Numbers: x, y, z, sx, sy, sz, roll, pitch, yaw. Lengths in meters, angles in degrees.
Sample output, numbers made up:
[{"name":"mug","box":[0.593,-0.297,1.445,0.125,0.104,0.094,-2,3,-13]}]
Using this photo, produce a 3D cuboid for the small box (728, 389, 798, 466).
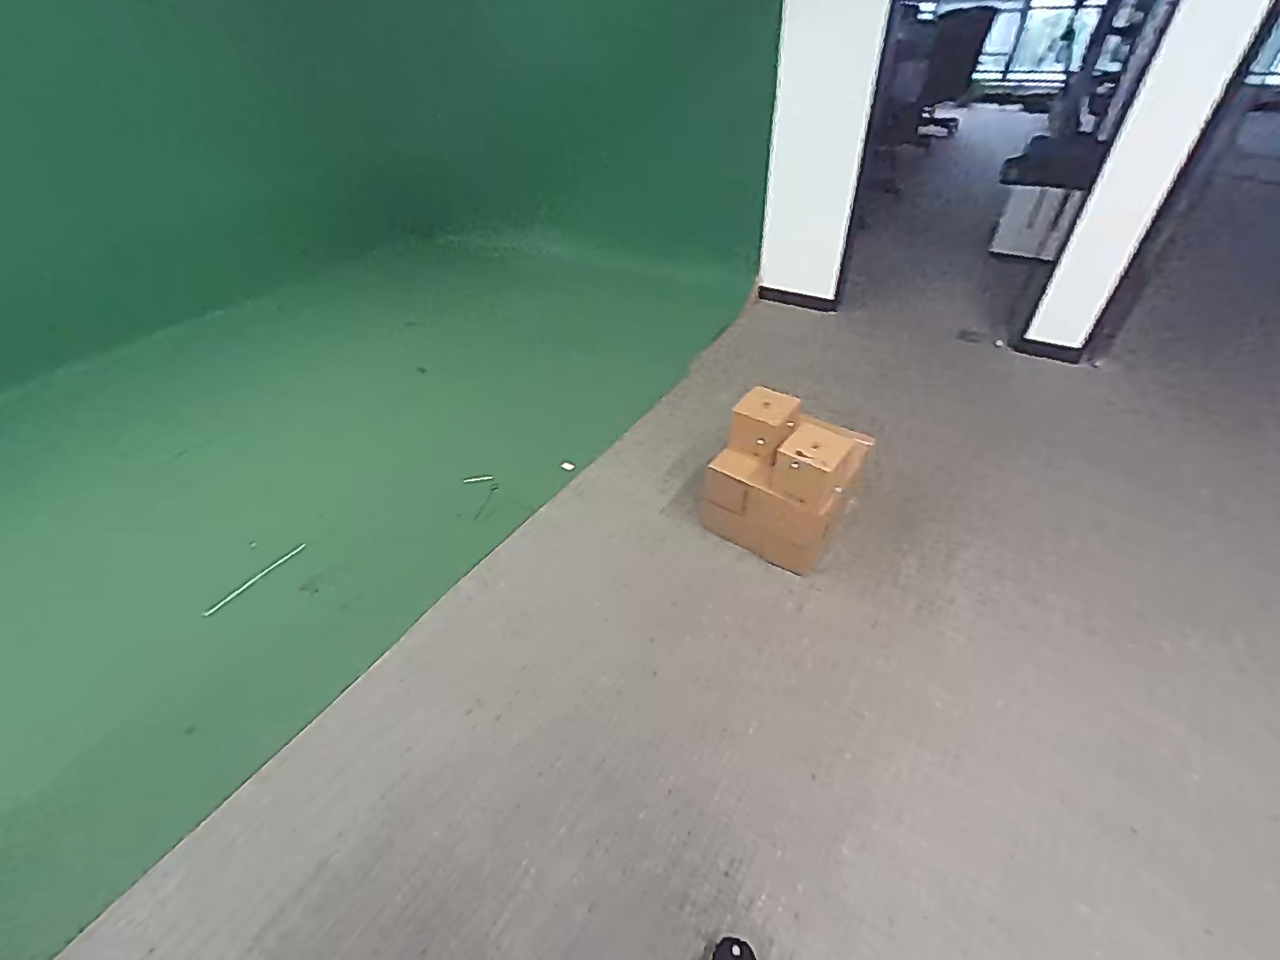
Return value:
[{"name":"small box","box":[0.406,-0.174,1.807,0.168,0.176,0.179,25,48,29]}]

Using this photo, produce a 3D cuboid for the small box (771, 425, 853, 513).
[{"name":"small box","box":[0.513,-0.034,1.637,0.168,0.176,0.179,28,50,30]}]
